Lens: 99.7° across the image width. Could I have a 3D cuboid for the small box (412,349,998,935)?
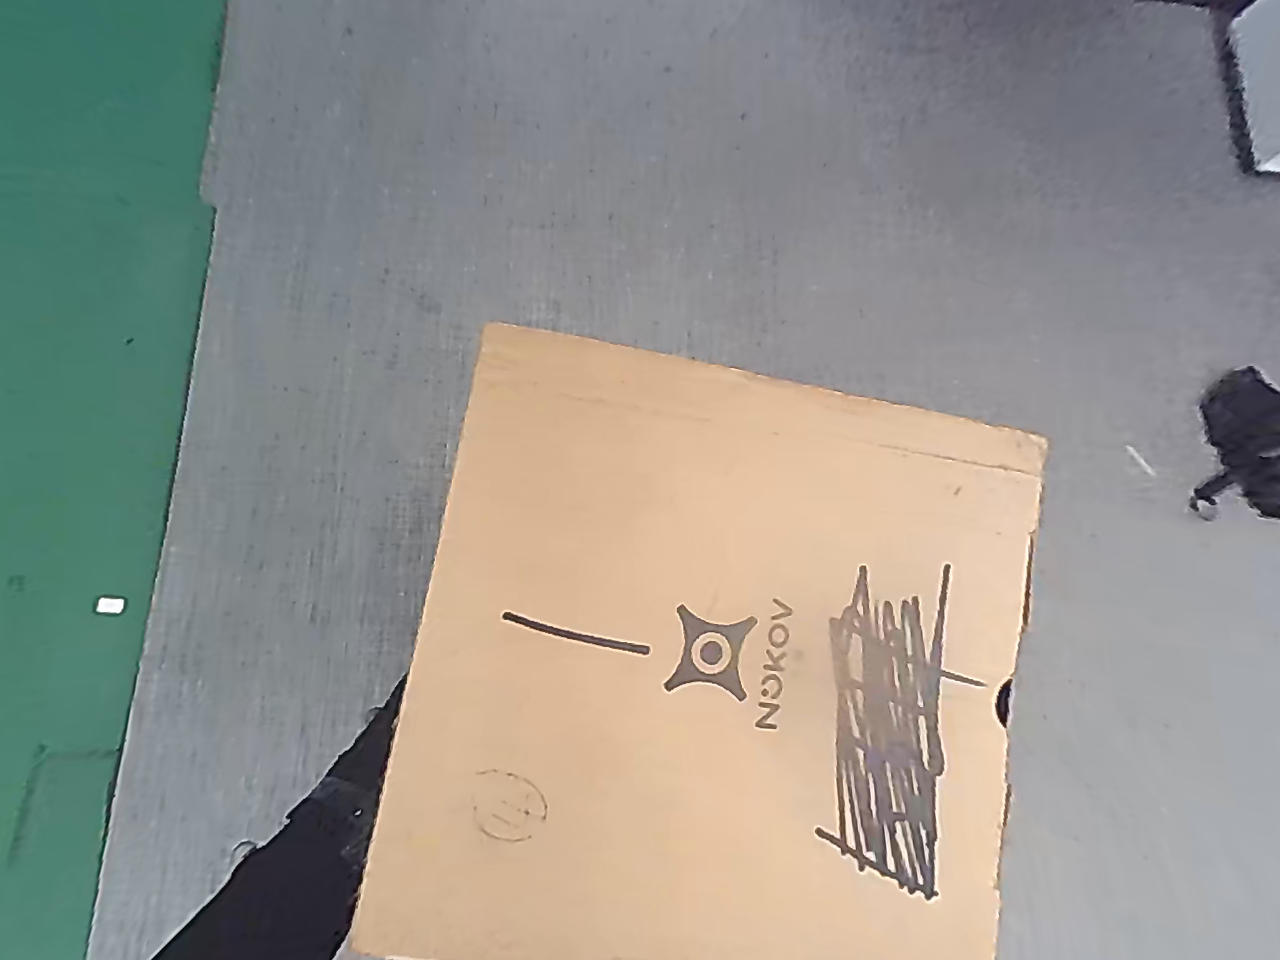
[{"bbox_3d":[0.018,0.059,0.246,0.179,0.176,0.168,8,83,-9],"label":"small box"}]
